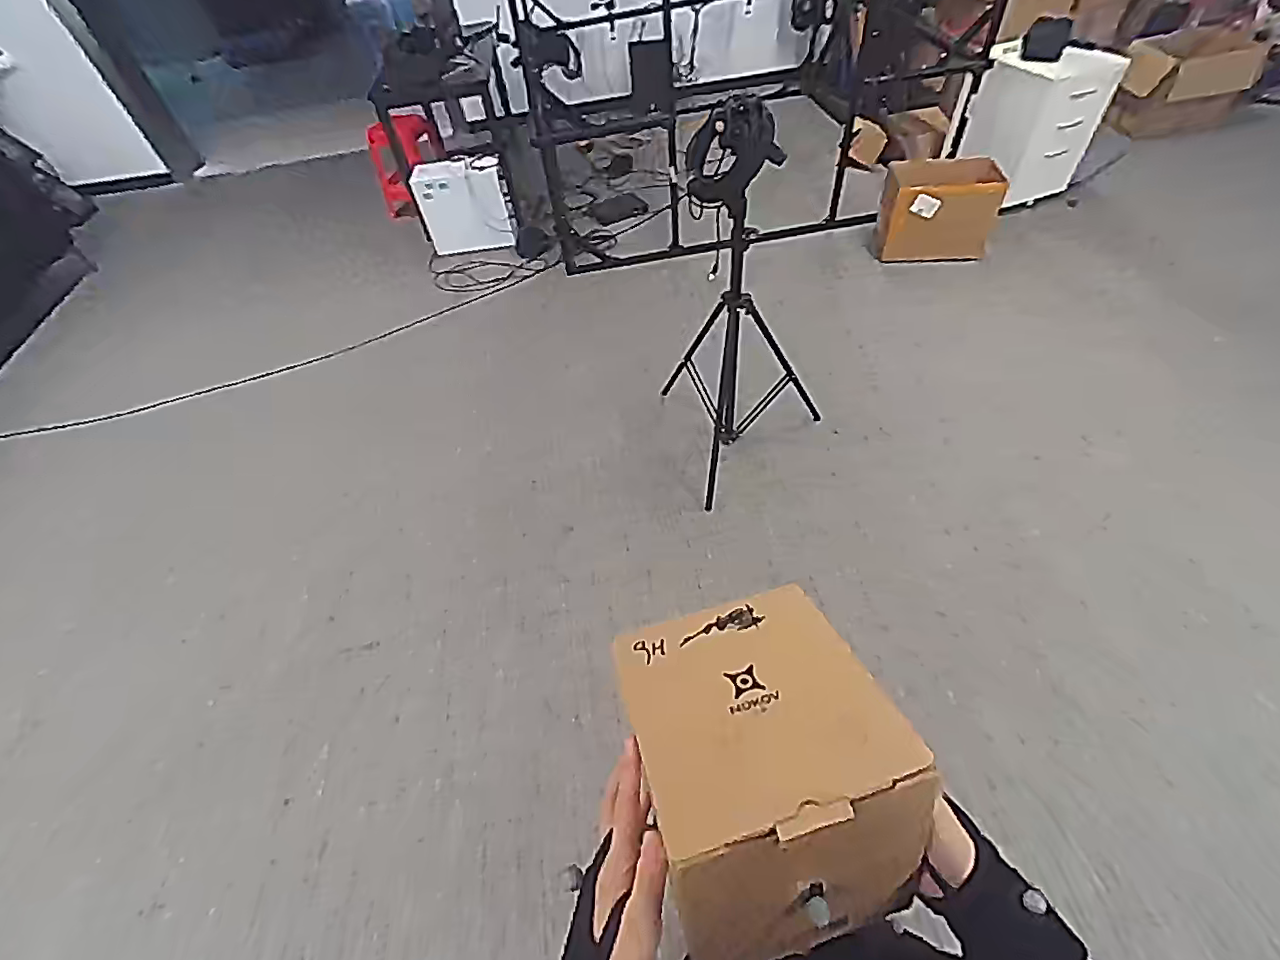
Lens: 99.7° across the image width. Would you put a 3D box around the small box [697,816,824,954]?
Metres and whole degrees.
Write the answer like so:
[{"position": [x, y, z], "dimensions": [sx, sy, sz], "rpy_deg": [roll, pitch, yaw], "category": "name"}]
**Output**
[{"position": [0.209, 0.733, 0.982], "dimensions": [0.179, 0.176, 0.168], "rpy_deg": [-12, 52, -2], "category": "small box"}]
